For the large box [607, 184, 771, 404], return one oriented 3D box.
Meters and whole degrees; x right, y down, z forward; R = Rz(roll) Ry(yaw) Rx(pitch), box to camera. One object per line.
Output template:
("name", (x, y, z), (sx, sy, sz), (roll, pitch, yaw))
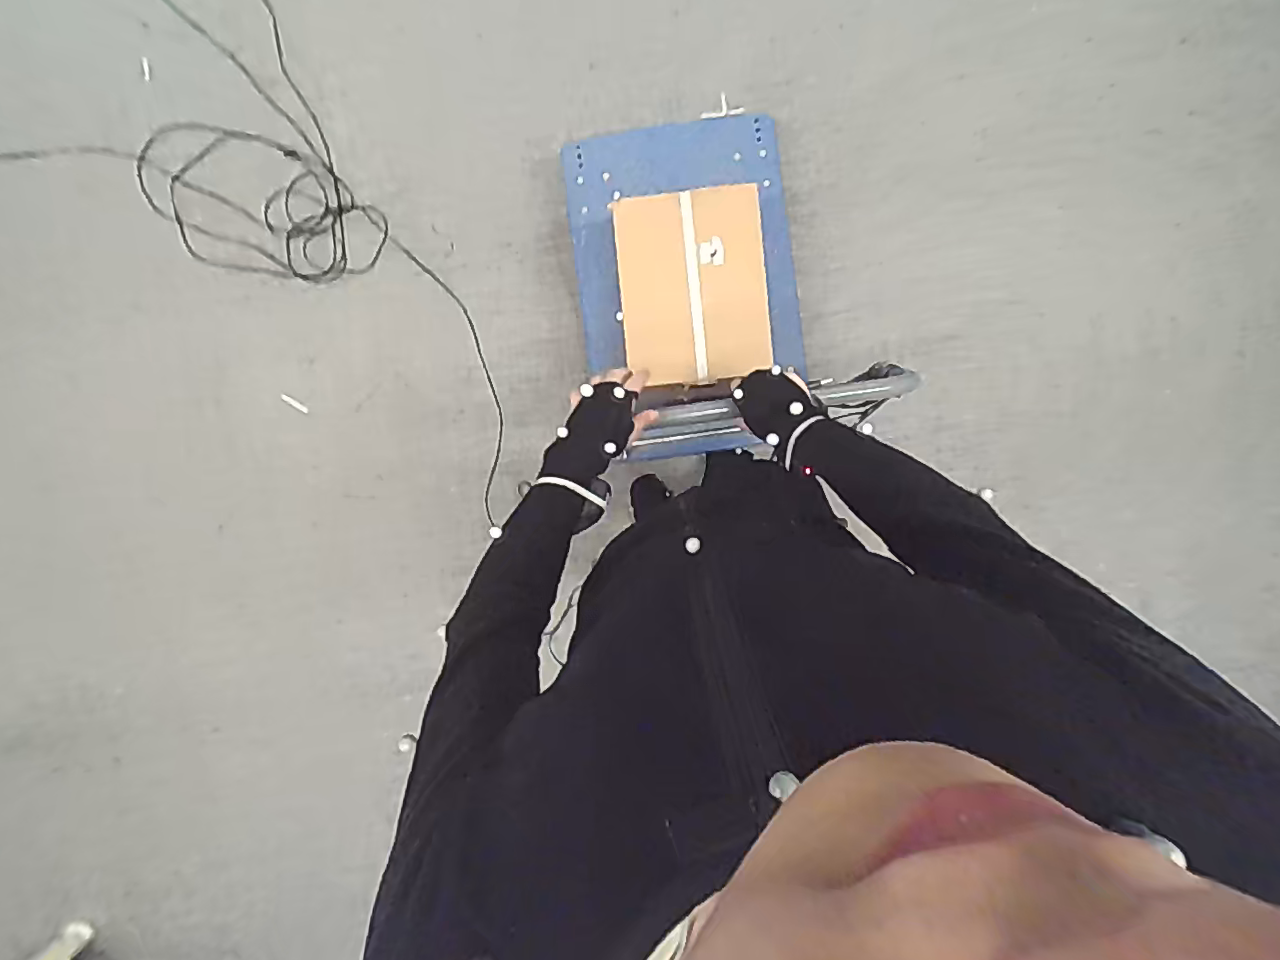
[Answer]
("large box", (0.108, -0.412, 1.289), (0.320, 0.320, 0.408), (-6, 91, 1))
